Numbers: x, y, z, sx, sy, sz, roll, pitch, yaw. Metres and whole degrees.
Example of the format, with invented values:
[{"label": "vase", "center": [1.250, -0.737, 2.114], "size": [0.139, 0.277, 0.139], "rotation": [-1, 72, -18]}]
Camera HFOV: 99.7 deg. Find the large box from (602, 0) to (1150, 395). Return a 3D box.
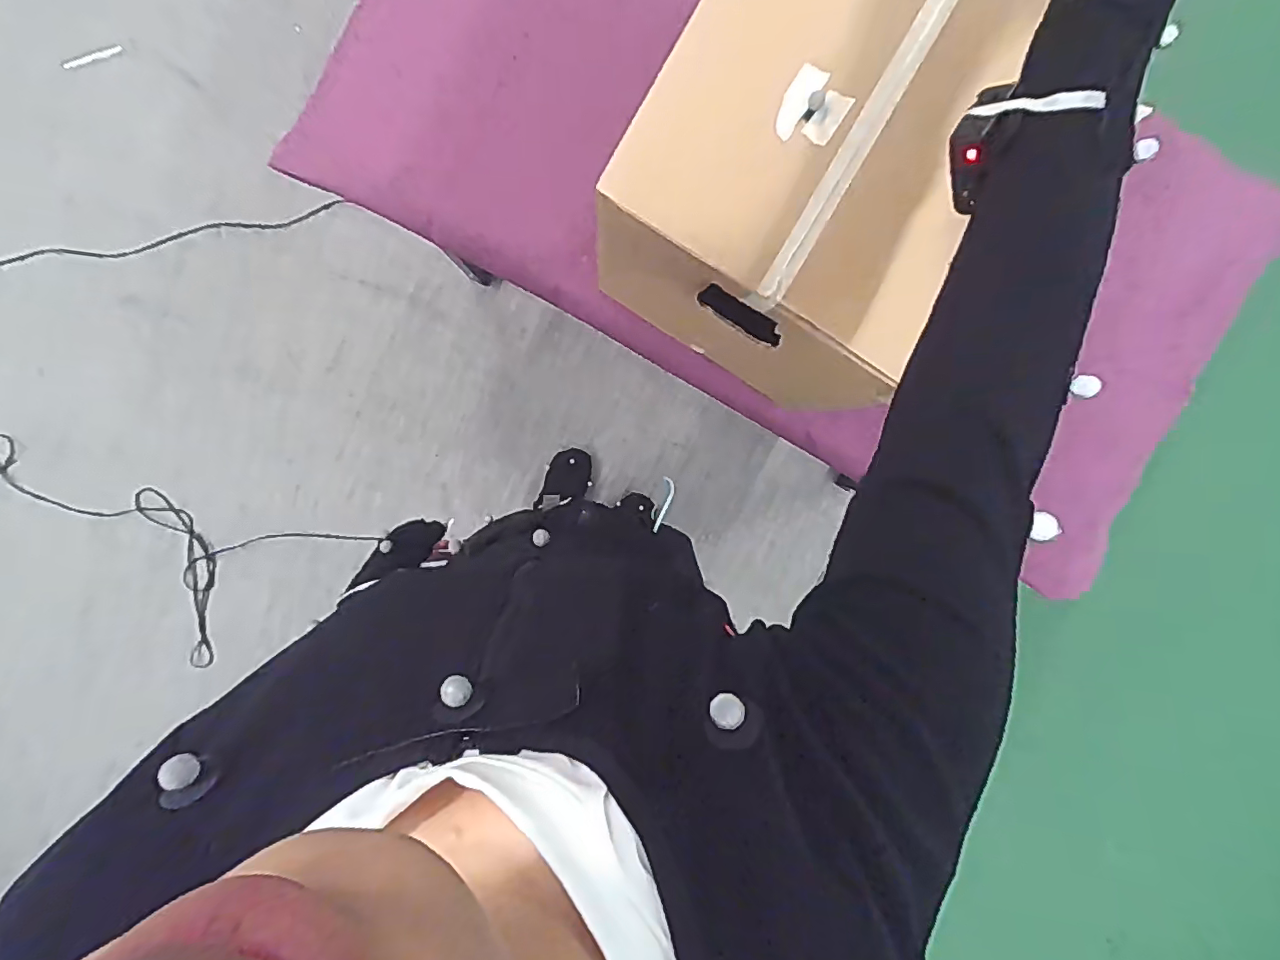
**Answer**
[{"label": "large box", "center": [0.188, -0.341, 0.581], "size": [0.320, 0.320, 0.408], "rotation": [31, 94, -7]}]
